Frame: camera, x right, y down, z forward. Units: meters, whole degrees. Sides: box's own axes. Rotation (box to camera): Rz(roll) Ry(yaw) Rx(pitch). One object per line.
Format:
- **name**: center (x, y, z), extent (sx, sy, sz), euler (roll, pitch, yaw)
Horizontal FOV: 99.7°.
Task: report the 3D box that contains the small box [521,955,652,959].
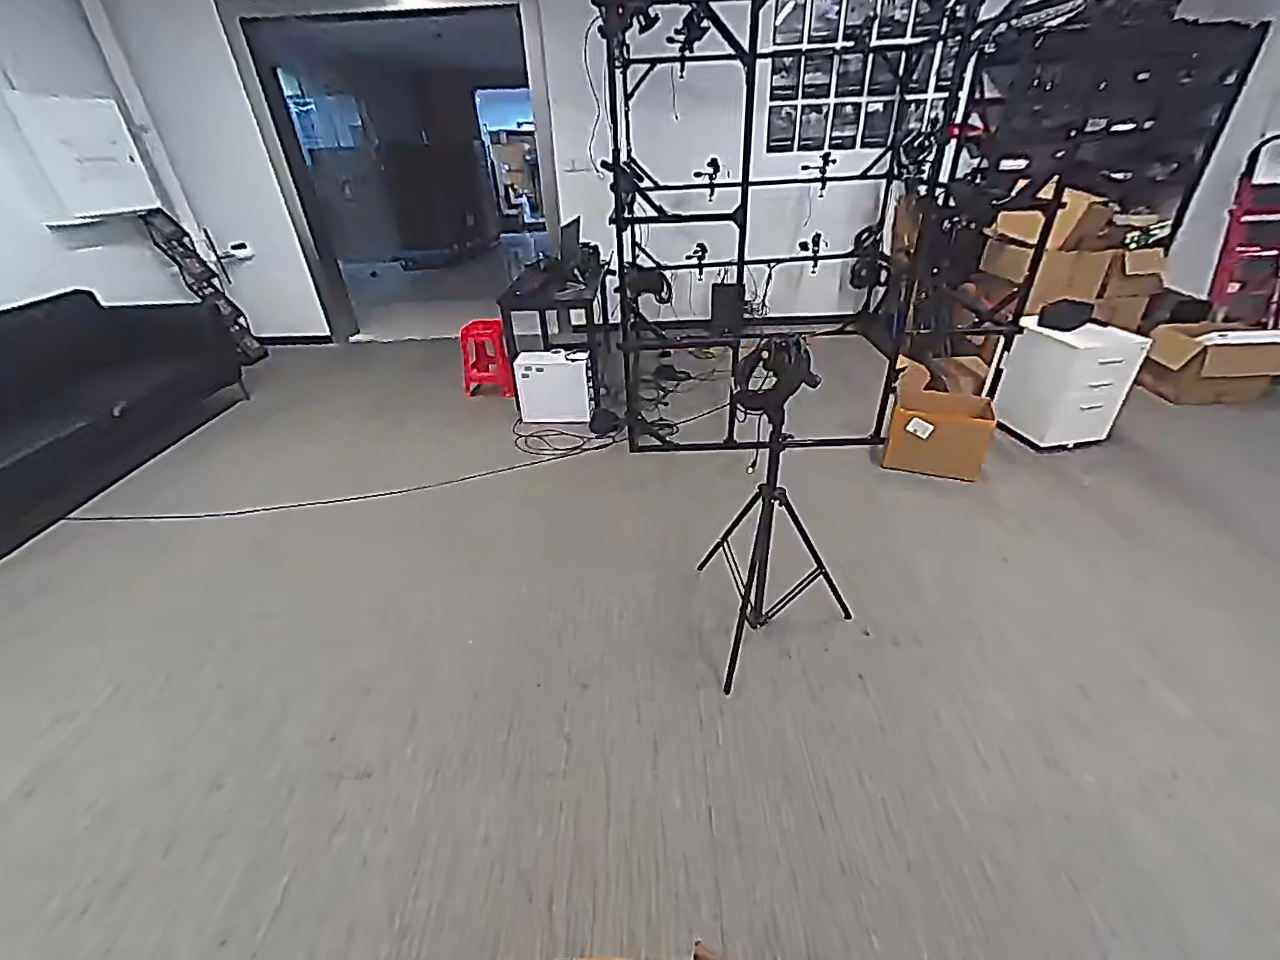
- **small box**: center (-0.044, 0.598, 0.514), extent (0.168, 0.176, 0.179), euler (-1, 31, 2)
